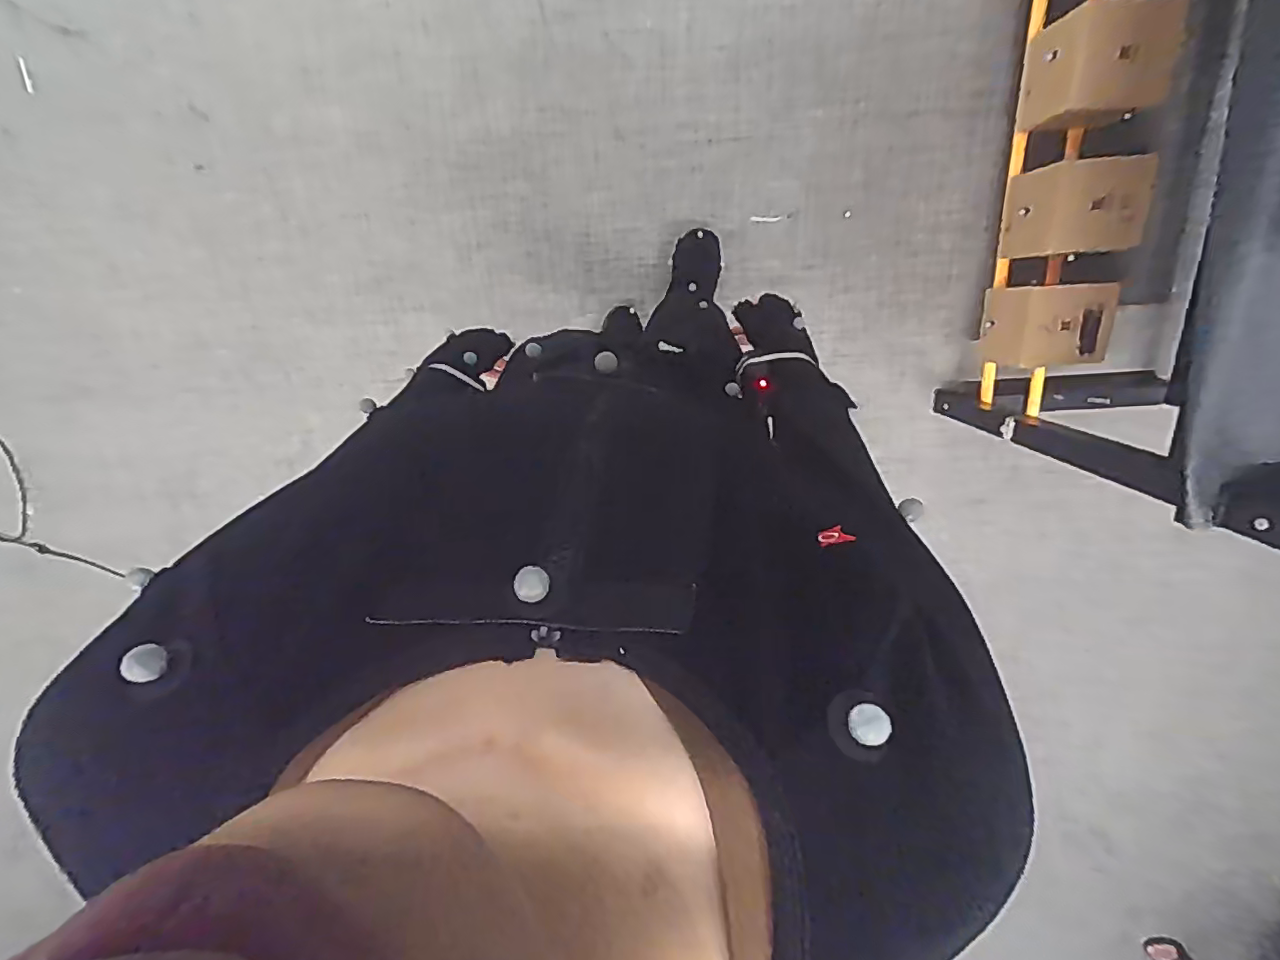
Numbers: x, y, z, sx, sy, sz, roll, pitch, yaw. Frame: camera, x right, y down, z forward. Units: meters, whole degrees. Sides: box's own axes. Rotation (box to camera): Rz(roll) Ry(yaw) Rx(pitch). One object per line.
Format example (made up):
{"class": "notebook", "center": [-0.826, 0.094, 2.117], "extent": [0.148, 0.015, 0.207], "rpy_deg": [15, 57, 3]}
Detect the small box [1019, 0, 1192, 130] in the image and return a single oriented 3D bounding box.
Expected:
{"class": "small box", "center": [0.873, -0.790, 1.036], "extent": [0.179, 0.176, 0.168], "rpy_deg": [-2, 109, 3]}

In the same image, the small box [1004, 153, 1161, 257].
{"class": "small box", "center": [0.893, -0.557, 1.113], "extent": [0.179, 0.176, 0.168], "rpy_deg": [-3, 110, 3]}
